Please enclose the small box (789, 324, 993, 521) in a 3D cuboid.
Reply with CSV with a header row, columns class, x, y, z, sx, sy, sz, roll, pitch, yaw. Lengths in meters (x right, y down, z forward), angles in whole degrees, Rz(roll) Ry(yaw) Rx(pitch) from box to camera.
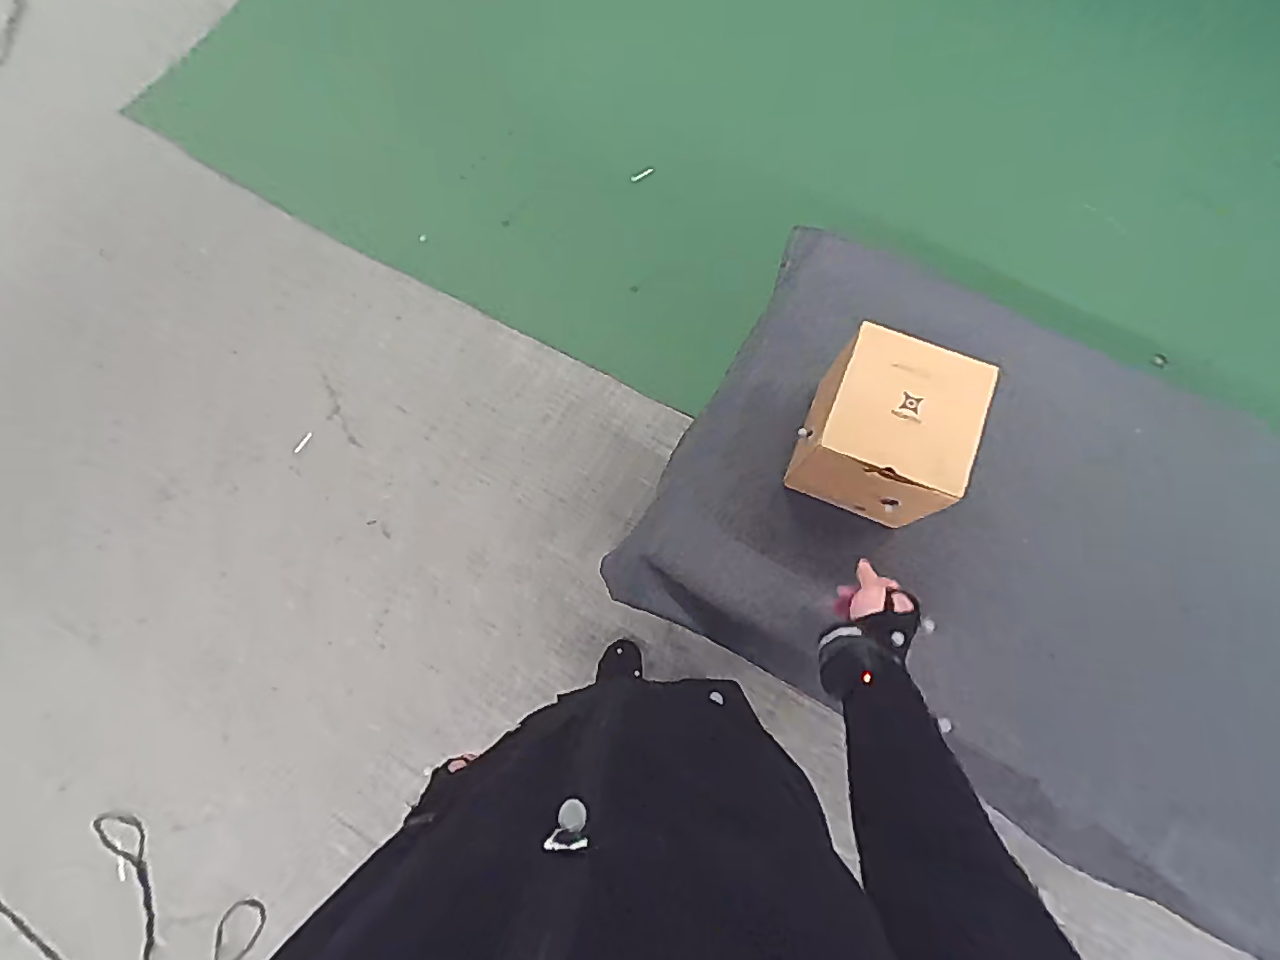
class,x,y,z,sx,sy,sz,roll,pitch,yaw
small box,0.309,-0.062,0.701,0.168,0.176,0.179,22,75,5
